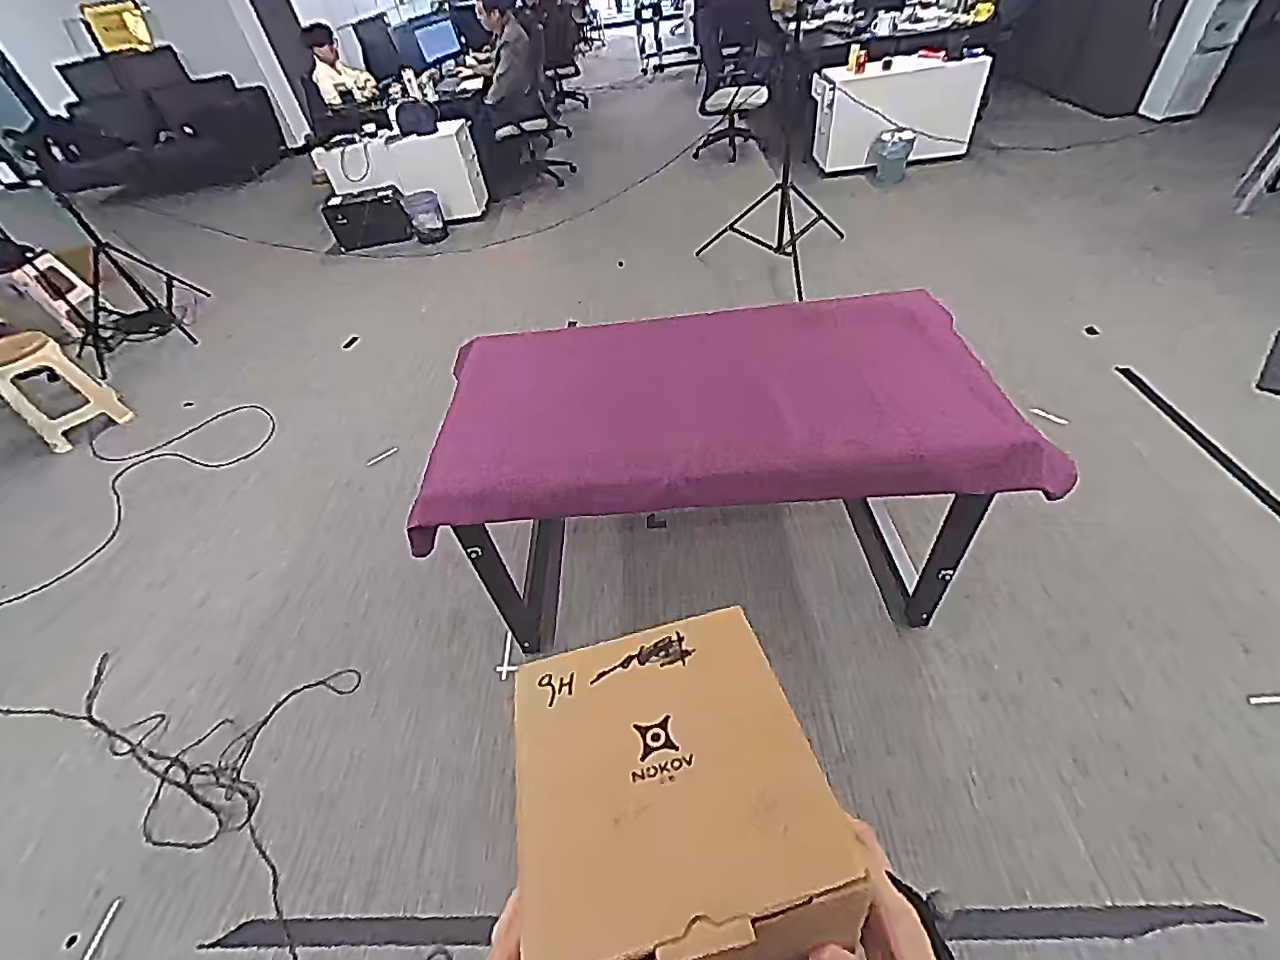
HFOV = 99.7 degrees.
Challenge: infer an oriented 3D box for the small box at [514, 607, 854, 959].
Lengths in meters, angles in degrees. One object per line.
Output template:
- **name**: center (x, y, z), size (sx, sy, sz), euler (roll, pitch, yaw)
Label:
- **small box**: center (0.021, 0.222, 0.361), size (0.168, 0.176, 0.179), euler (-14, 36, -5)
